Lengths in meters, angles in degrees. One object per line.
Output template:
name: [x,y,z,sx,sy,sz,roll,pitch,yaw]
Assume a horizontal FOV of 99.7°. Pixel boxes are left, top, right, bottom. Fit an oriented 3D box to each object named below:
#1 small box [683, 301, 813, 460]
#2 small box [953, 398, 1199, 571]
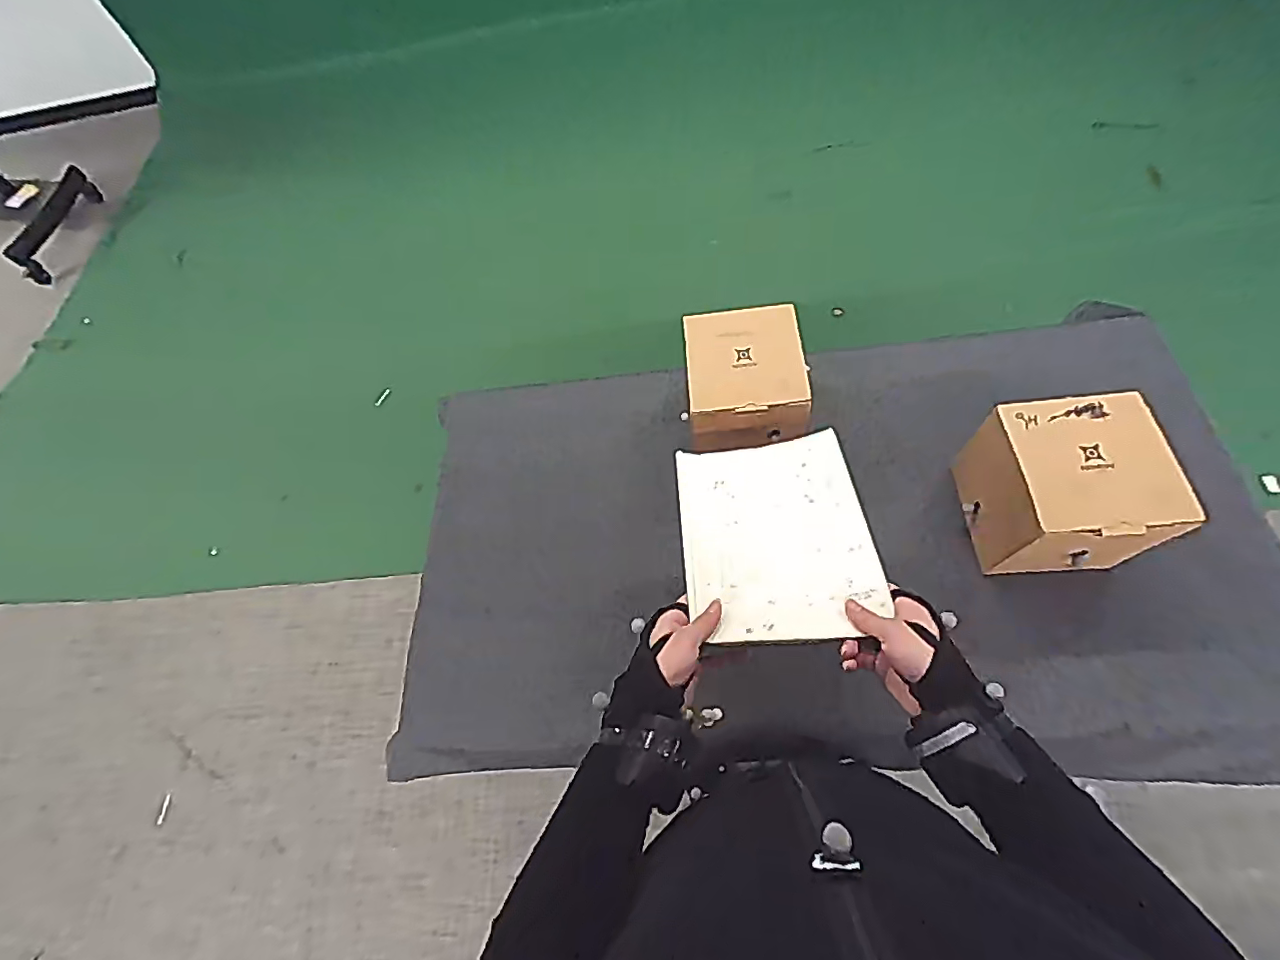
small box: [0.159,-0.141,0.829,0.168,0.176,0.179,-6,63,5]
small box: [0.542,0.017,0.707,0.168,0.176,0.179,-5,65,7]
